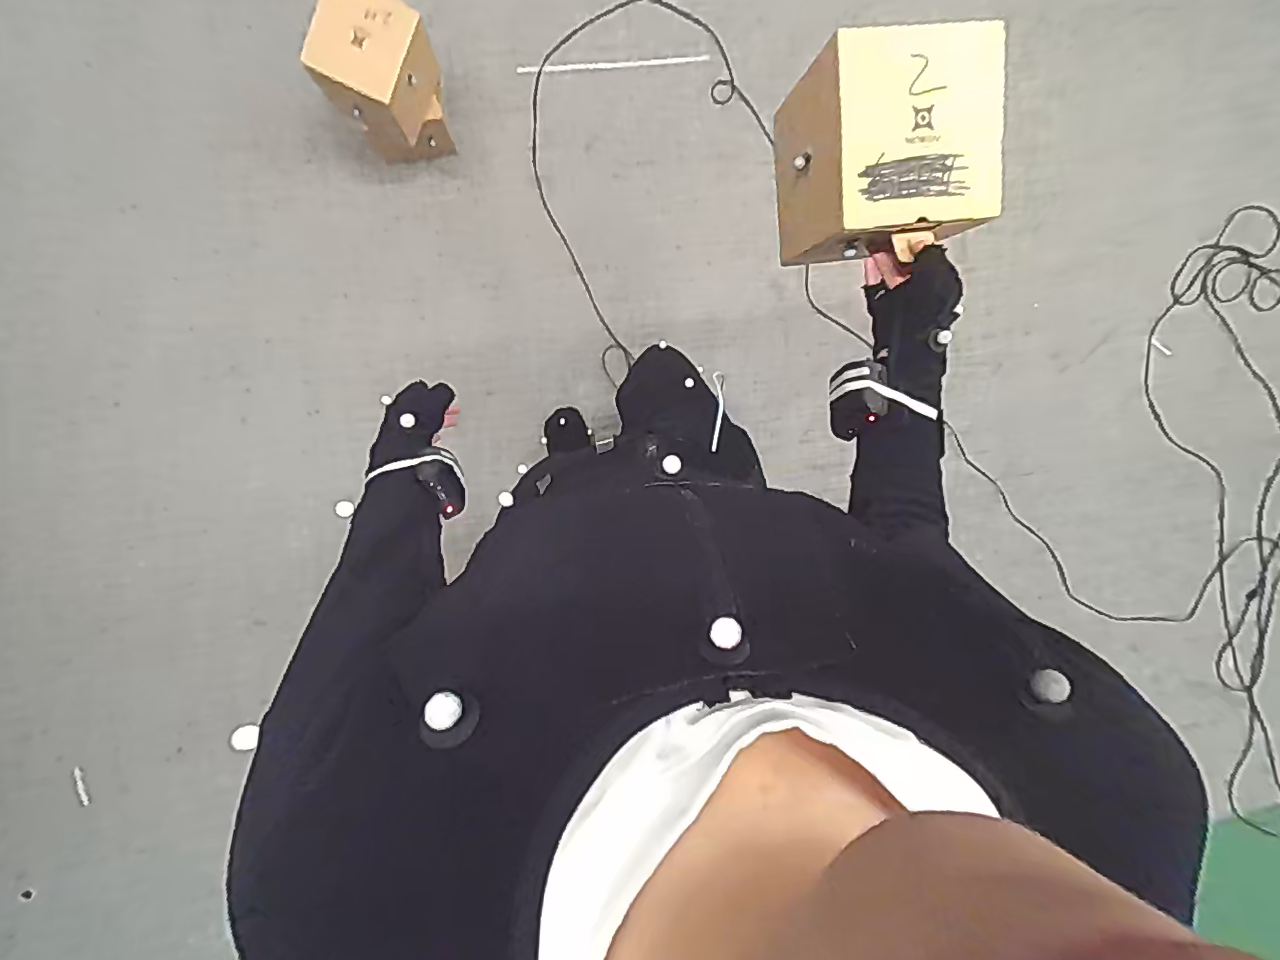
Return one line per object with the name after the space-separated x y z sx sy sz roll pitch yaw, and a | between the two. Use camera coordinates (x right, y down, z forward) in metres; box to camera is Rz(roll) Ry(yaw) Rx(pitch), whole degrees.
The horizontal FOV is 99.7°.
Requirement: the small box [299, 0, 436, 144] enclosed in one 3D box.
-0.522 -0.808 1.062 0.168 0.176 0.179 22 93 -10 | small box

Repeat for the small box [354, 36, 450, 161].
-0.536 -0.843 1.205 0.179 0.176 0.168 -13 98 -5 | small box
